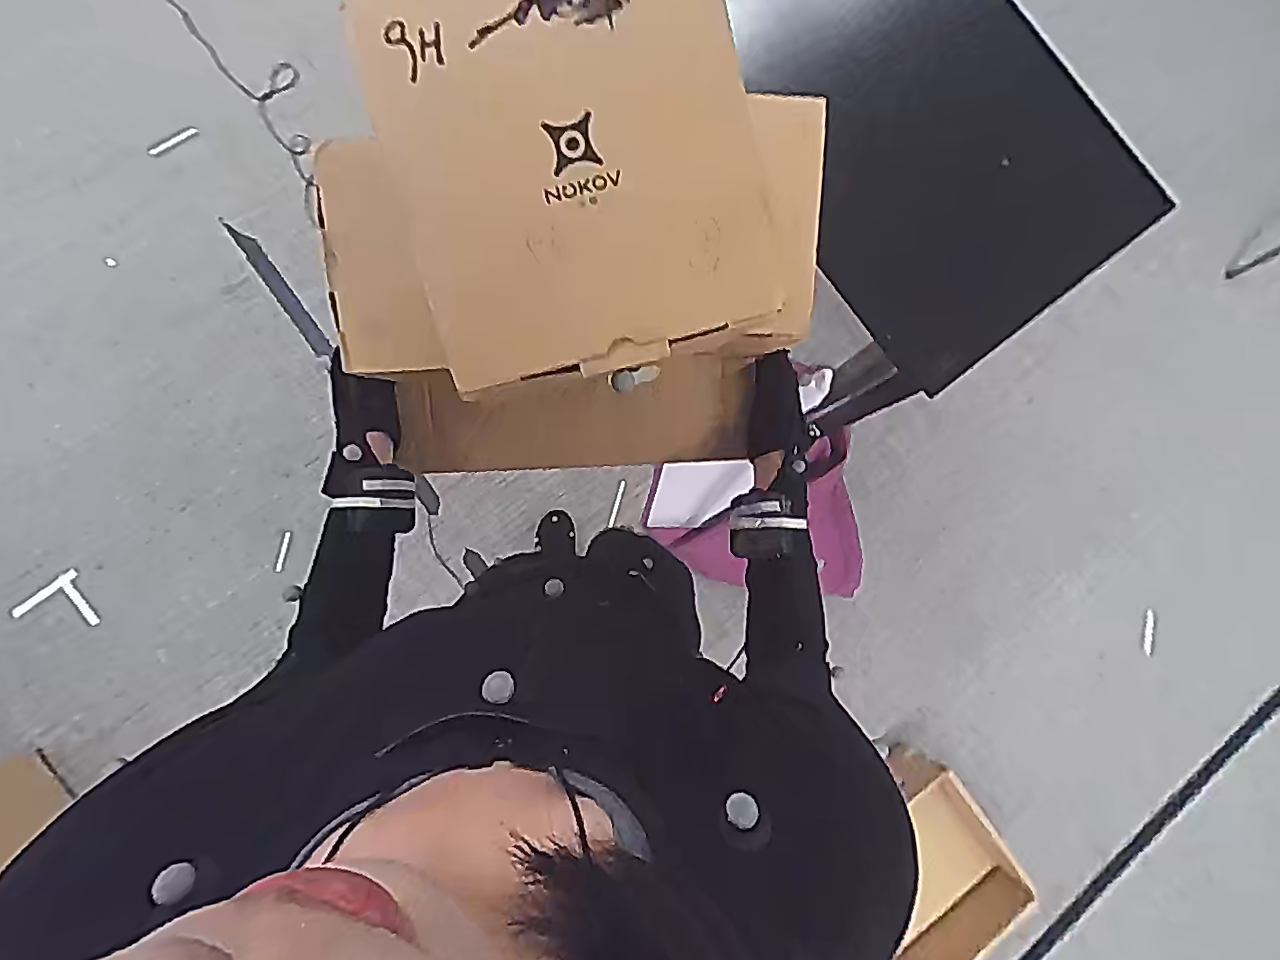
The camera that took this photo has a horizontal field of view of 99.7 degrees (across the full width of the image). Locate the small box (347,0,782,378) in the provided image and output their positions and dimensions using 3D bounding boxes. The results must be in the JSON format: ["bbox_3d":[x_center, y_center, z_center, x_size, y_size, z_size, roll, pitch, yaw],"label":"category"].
[{"bbox_3d":[-0.033,-0.164,0.323,0.168,0.176,0.179,-14,100,-2],"label":"small box"}]

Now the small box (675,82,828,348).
[{"bbox_3d":[0.051,-0.218,0.486,0.168,0.176,0.179,2,96,-4],"label":"small box"}]

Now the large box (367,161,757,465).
[{"bbox_3d":[-0.086,-0.200,0.726,0.408,0.320,0.320,-3,99,-5],"label":"large box"}]
